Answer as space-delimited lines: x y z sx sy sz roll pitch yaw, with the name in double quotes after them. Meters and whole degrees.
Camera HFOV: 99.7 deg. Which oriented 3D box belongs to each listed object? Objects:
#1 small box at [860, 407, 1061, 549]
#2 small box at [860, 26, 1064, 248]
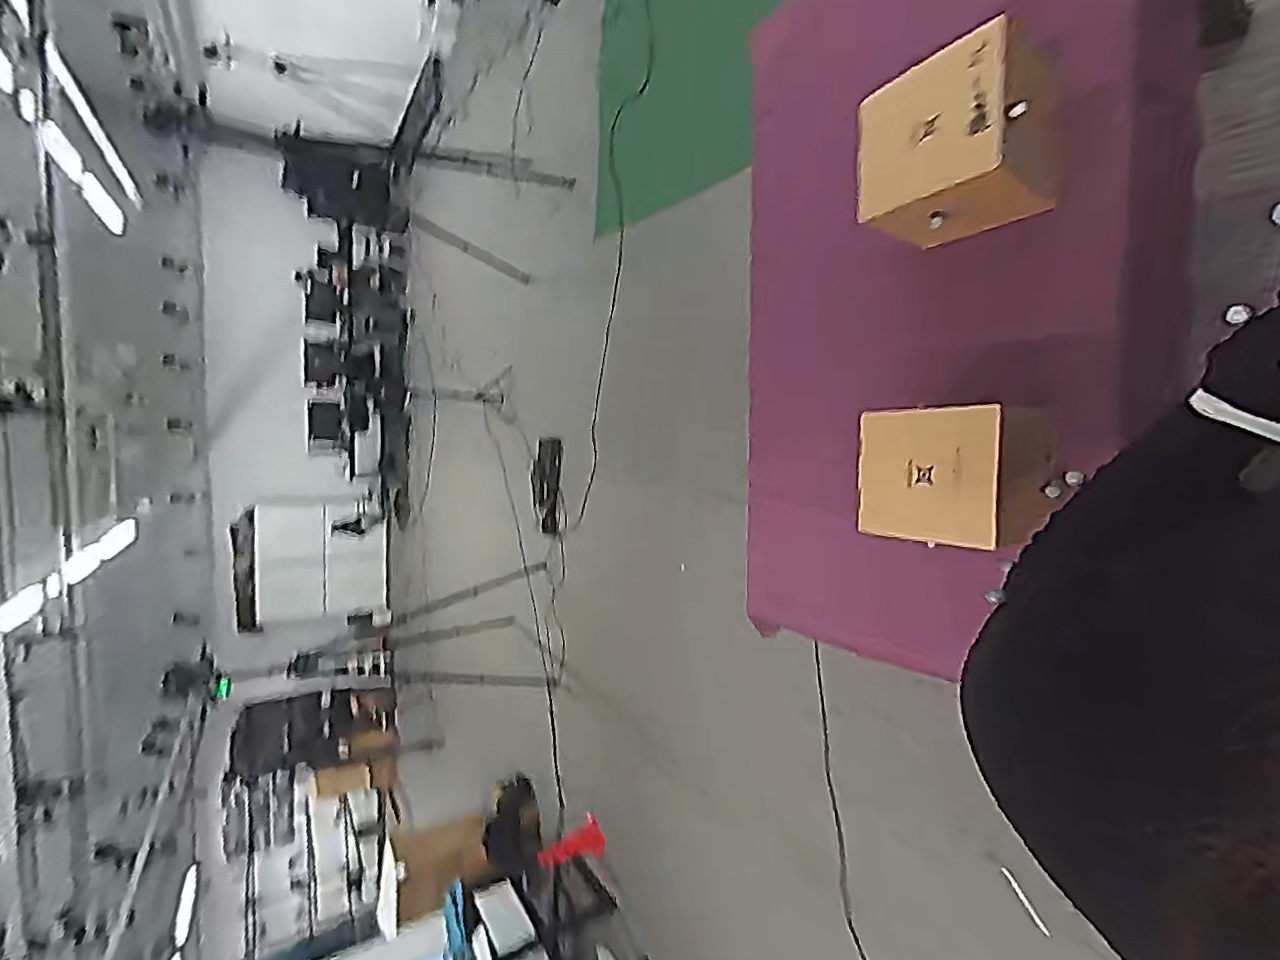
0.424 -0.007 0.725 0.179 0.176 0.168 5 96 56 "small box"
0.419 -0.427 0.715 0.179 0.176 0.168 3 94 57 "small box"
